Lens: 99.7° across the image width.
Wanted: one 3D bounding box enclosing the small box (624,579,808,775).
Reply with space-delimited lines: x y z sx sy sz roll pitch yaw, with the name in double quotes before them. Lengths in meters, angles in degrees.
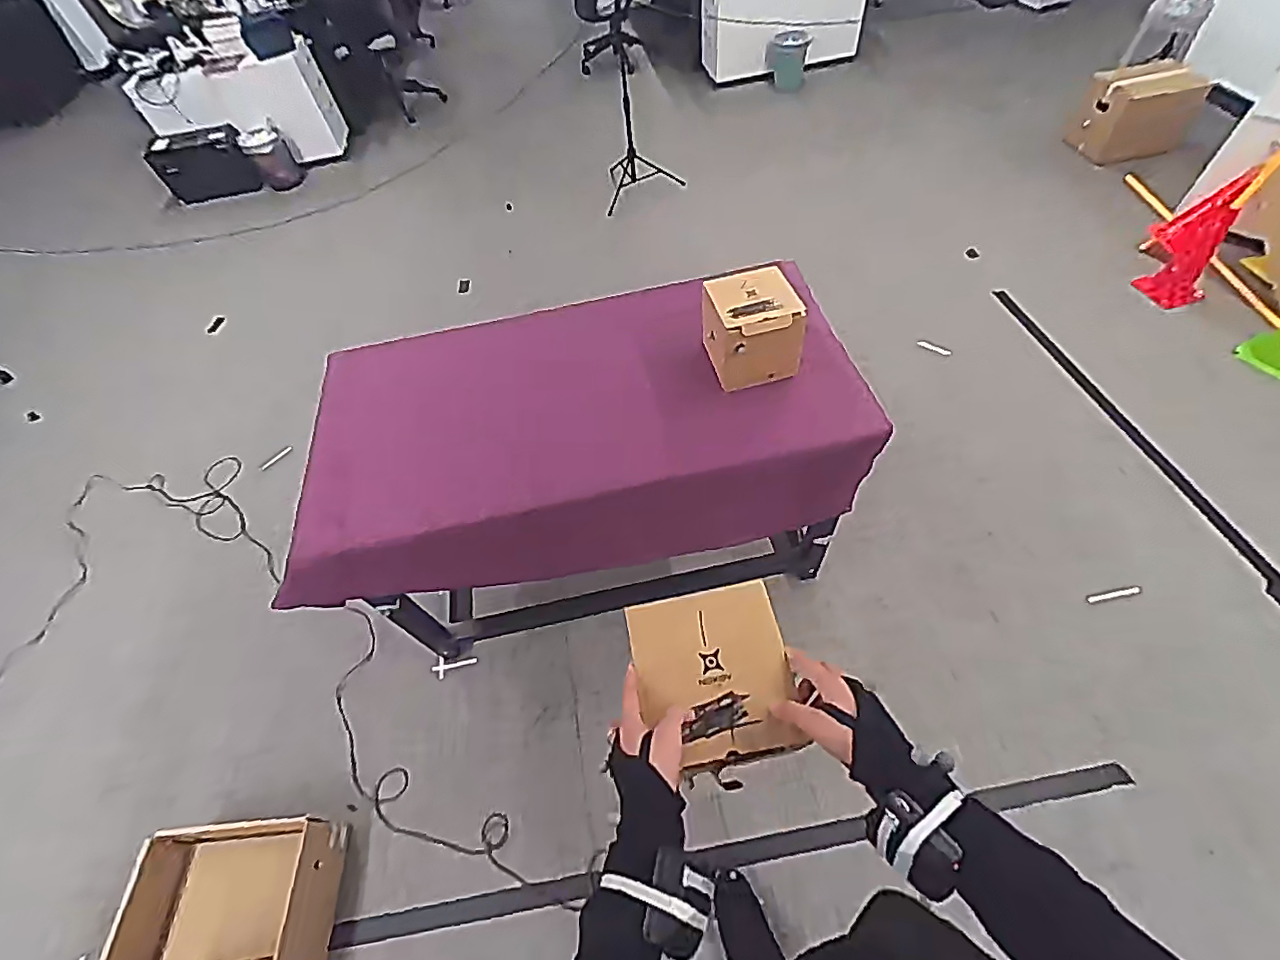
"small box" 0.084 0.242 0.644 0.168 0.176 0.179 -12 58 -1
